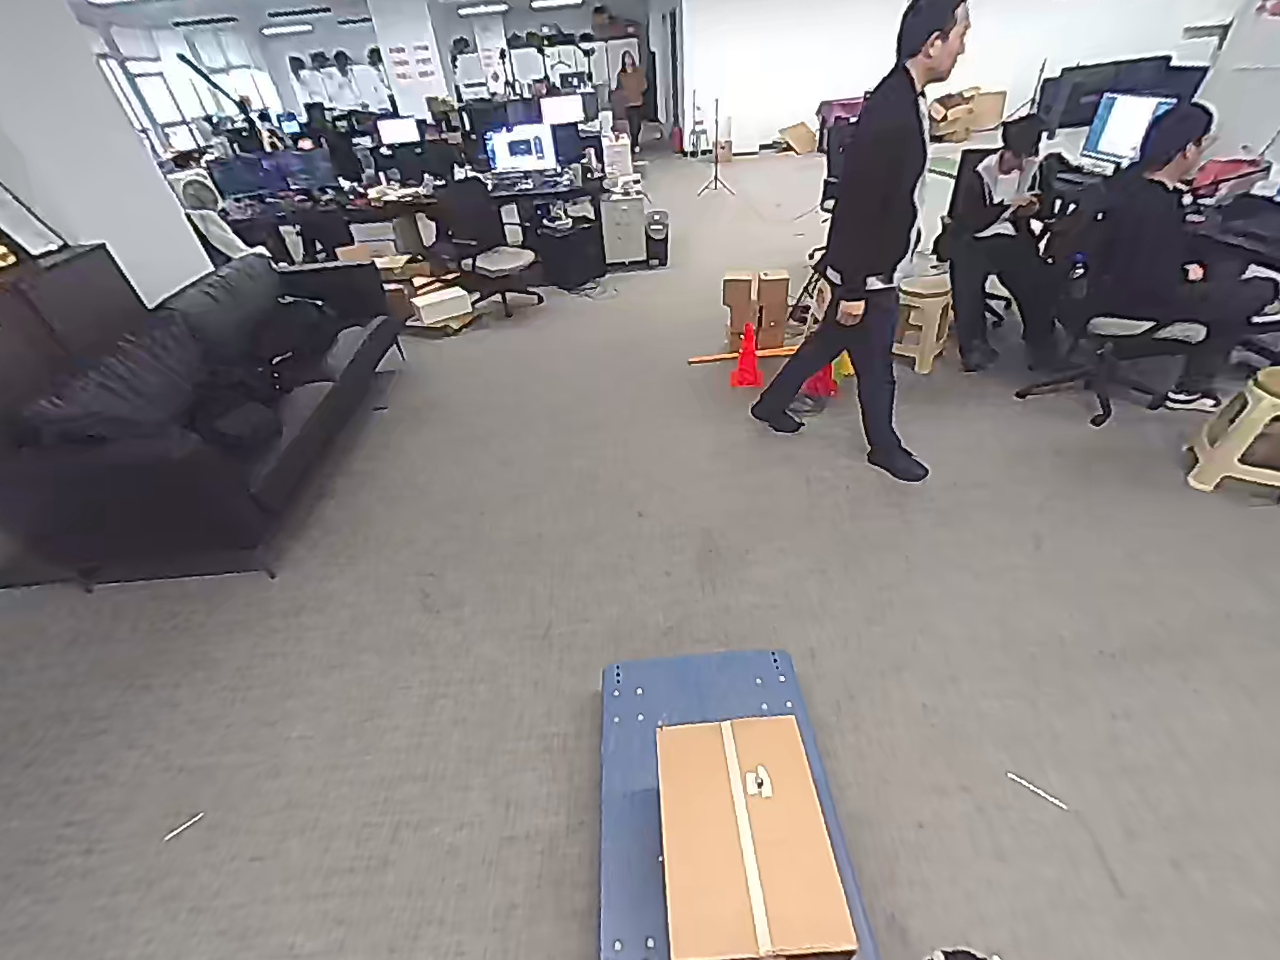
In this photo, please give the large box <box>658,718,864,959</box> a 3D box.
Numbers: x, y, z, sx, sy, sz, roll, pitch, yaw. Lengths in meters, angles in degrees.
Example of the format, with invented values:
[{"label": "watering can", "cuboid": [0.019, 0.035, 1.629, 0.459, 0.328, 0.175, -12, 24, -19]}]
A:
[{"label": "large box", "cuboid": [0.217, 0.775, 1.121, 0.320, 0.320, 0.408, -5, 37, 1]}]
